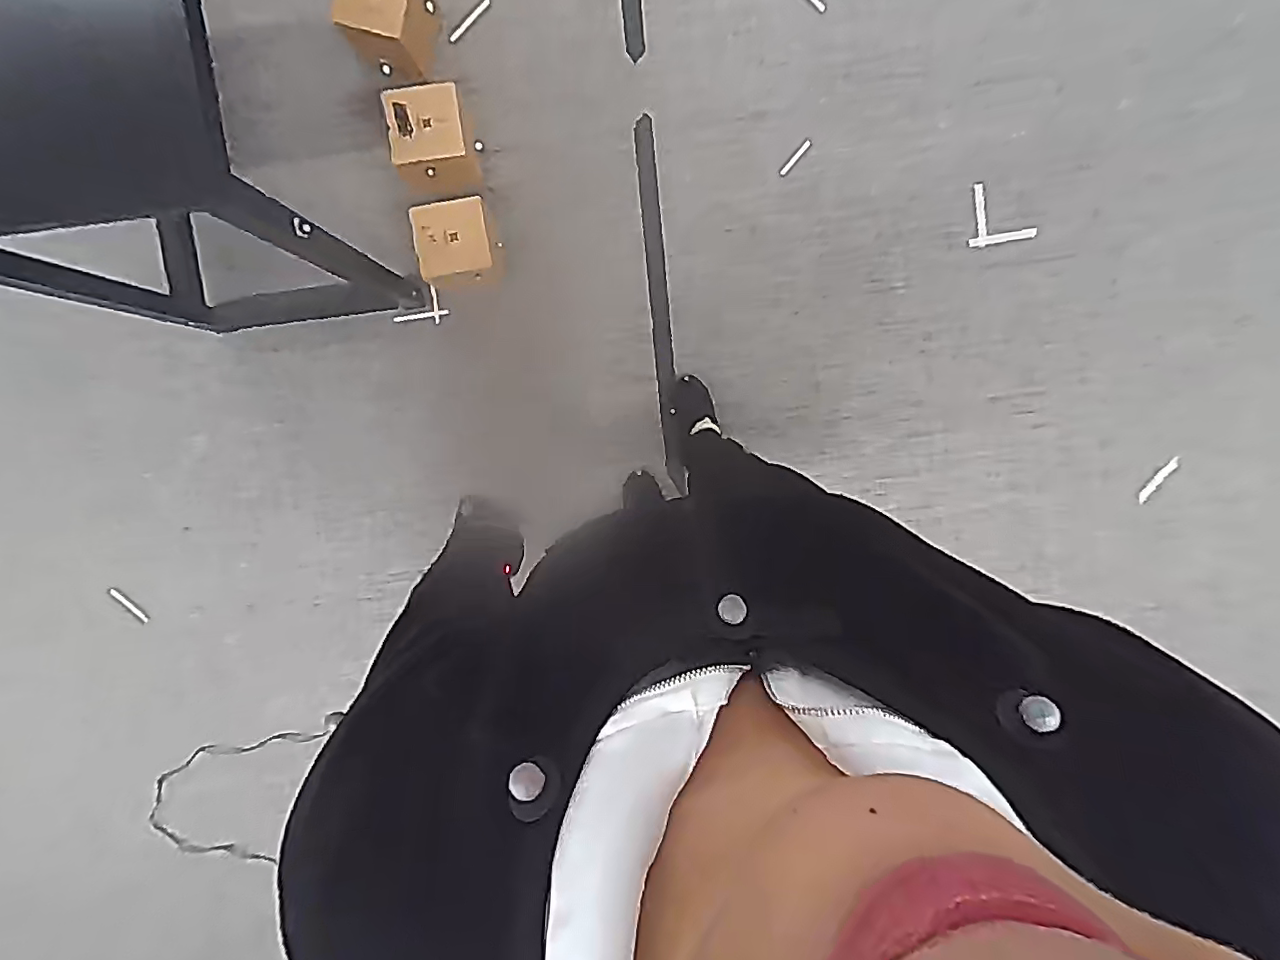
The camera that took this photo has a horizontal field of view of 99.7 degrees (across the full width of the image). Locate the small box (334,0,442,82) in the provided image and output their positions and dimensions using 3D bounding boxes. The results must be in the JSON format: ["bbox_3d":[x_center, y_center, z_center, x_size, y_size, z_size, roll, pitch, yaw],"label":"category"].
[{"bbox_3d":[-0.601,-1.122,1.310,0.168,0.176,0.179,15,97,0],"label":"small box"}]

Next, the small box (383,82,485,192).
[{"bbox_3d":[-0.502,-0.838,1.337,0.179,0.176,0.168,-7,96,0],"label":"small box"}]
